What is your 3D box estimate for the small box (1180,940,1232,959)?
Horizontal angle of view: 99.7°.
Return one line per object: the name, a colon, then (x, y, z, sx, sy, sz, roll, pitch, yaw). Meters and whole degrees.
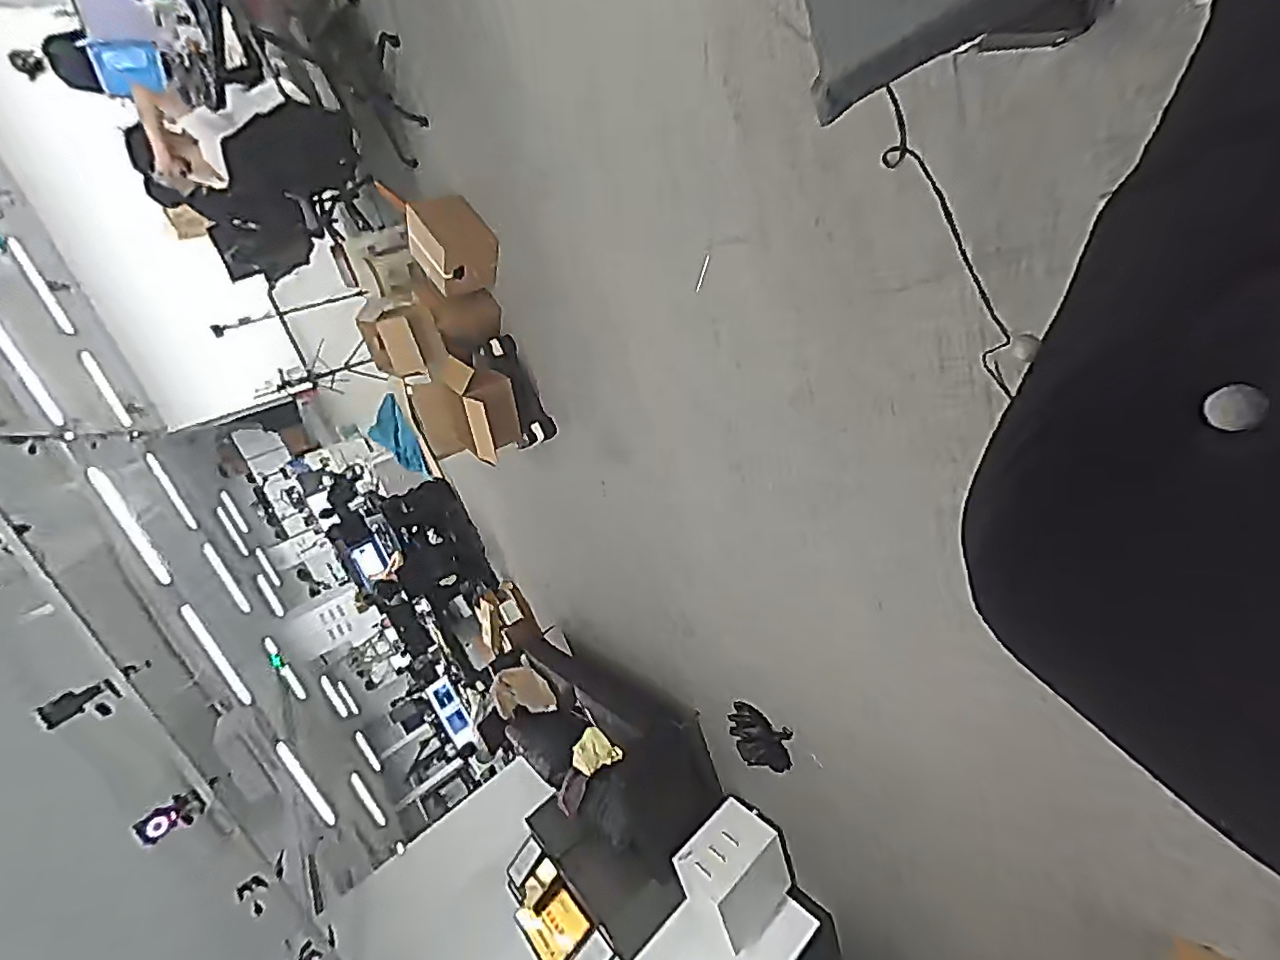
small box: (1.645, 1.469, 1.534, 0.179, 0.176, 0.168, 14, 126, 51)
